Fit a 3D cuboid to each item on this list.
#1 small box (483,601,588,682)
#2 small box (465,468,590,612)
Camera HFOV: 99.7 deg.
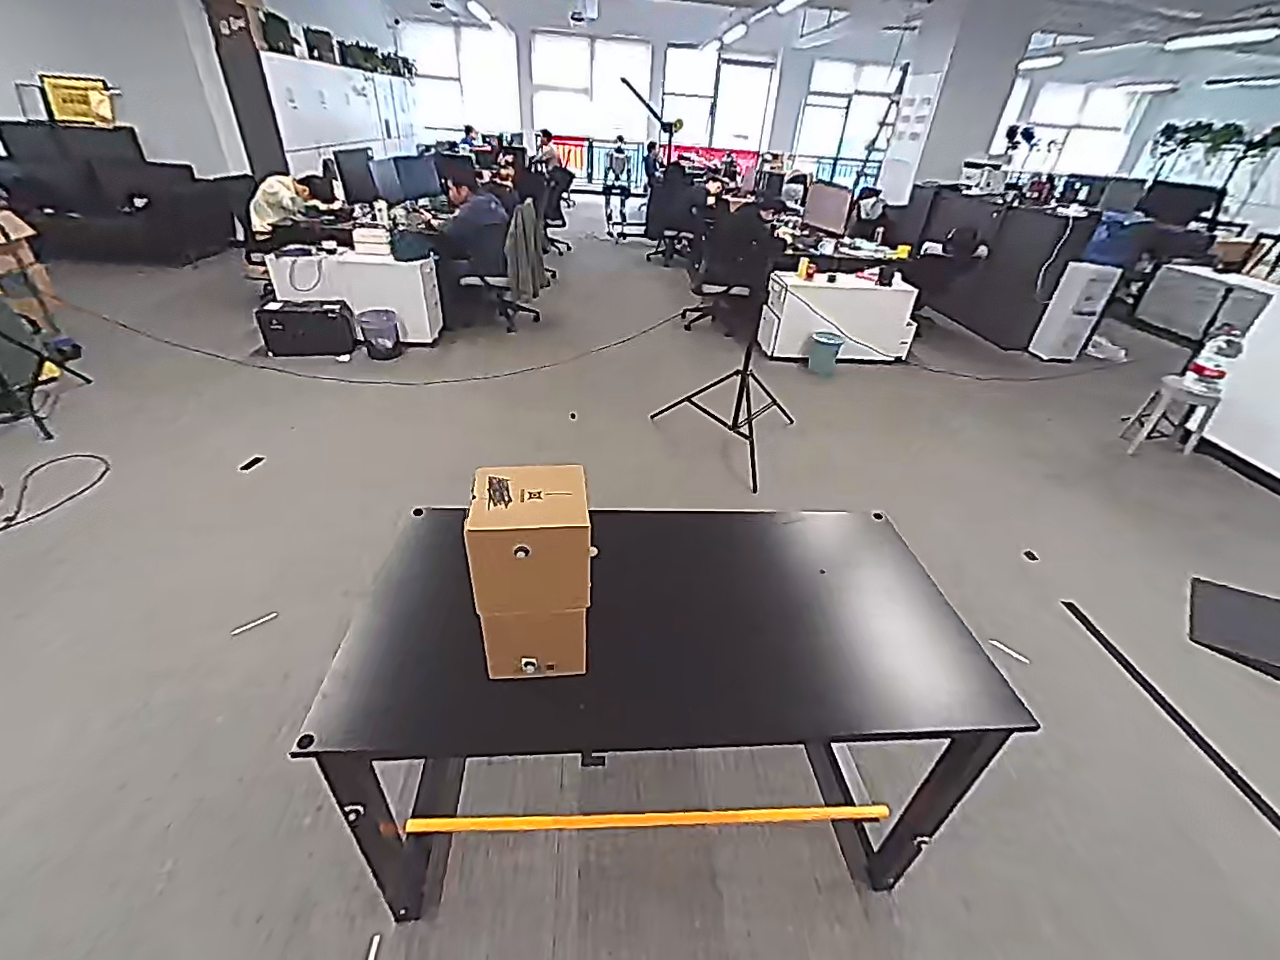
[{"bbox_3d":[-0.180,0.231,0.962,0.168,0.176,0.179,-2,35,-8],"label":"small box"},{"bbox_3d":[-0.172,0.096,0.868,0.179,0.176,0.168,-2,34,-9],"label":"small box"}]
